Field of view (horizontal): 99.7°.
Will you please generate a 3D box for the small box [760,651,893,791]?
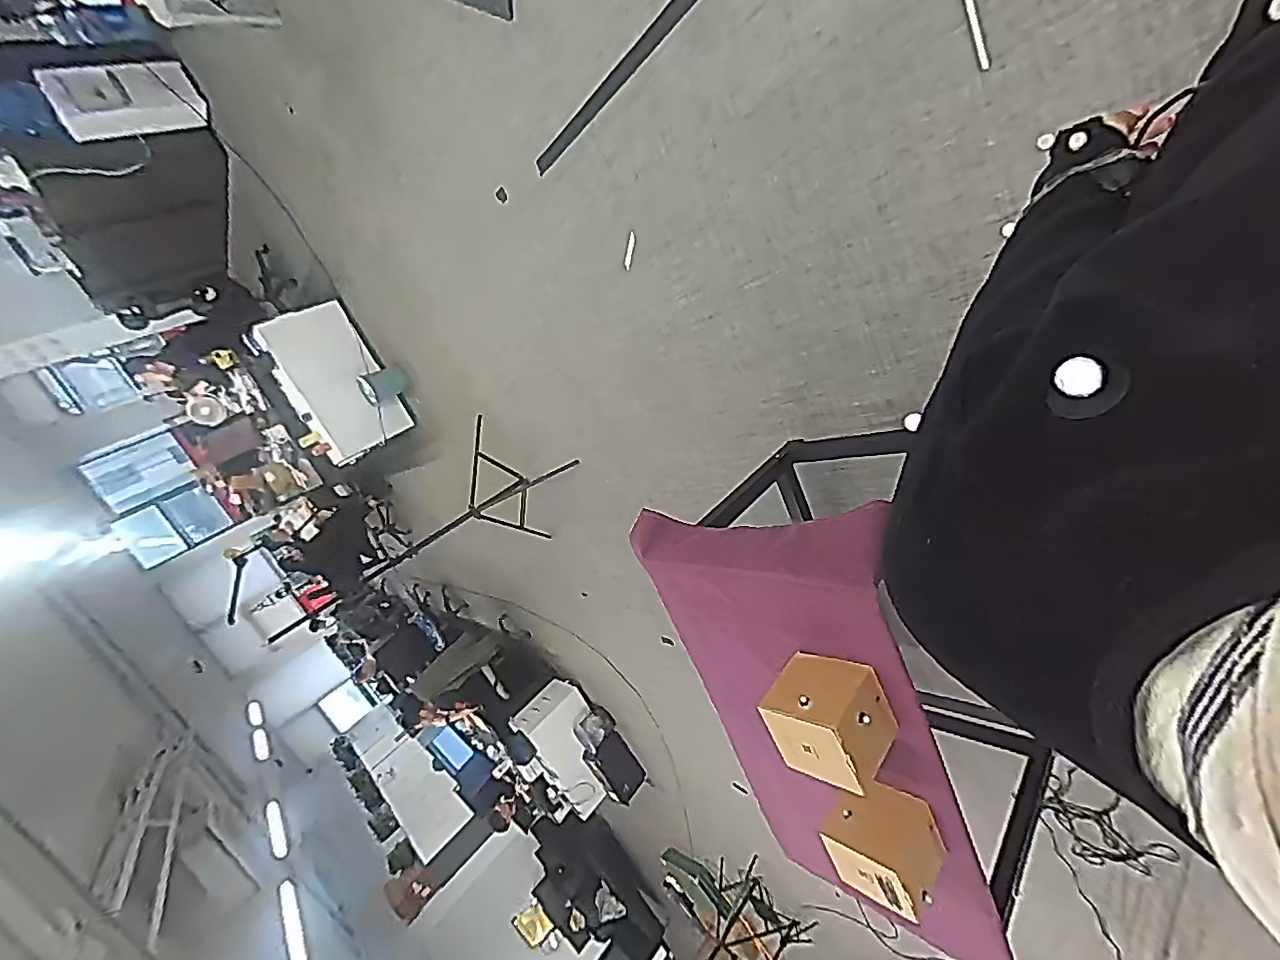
[{"bbox_3d":[0.378,0.465,1.077,0.179,0.176,0.168,-8,114,53],"label":"small box"}]
